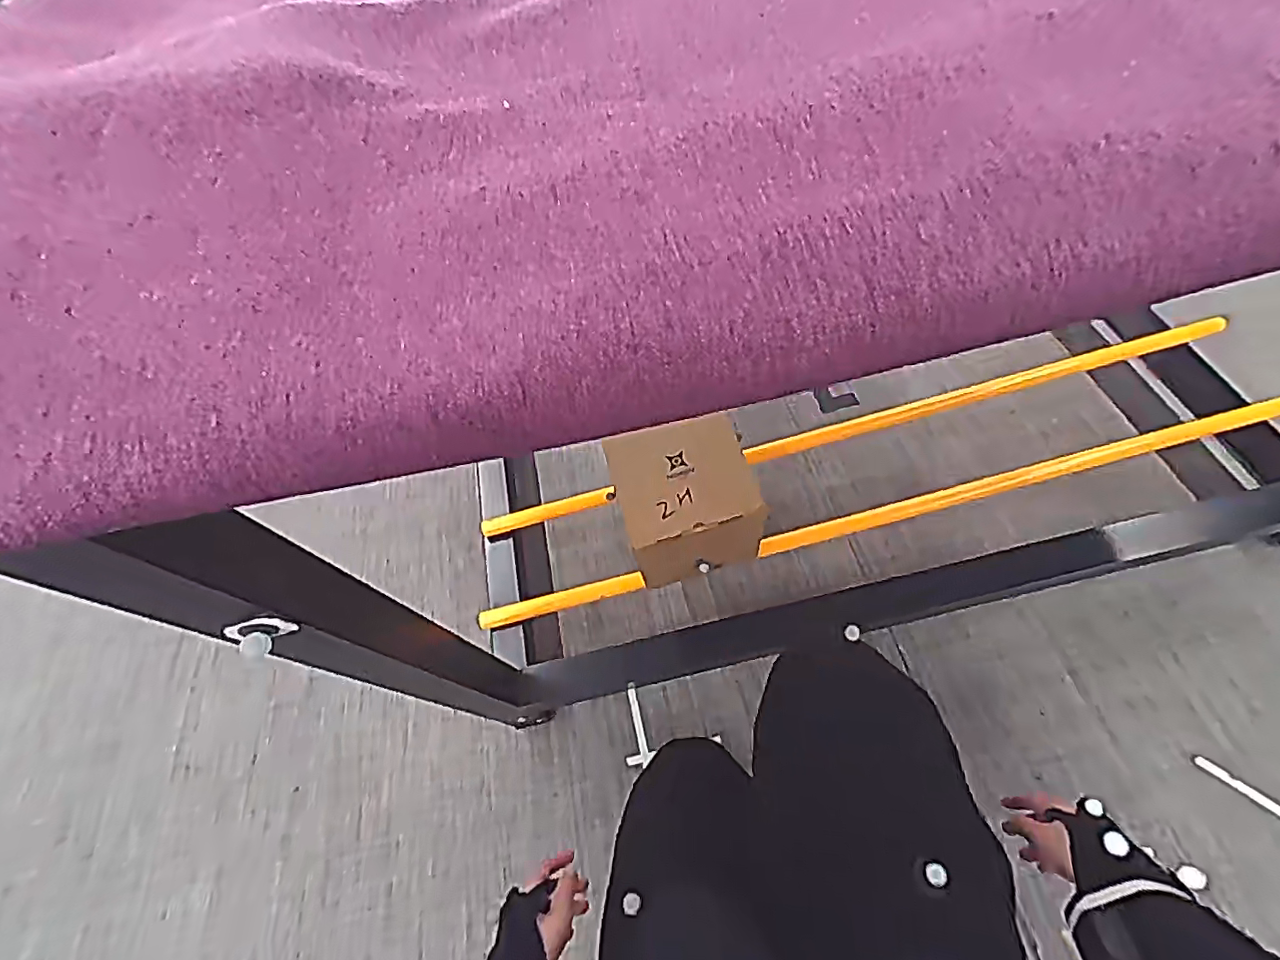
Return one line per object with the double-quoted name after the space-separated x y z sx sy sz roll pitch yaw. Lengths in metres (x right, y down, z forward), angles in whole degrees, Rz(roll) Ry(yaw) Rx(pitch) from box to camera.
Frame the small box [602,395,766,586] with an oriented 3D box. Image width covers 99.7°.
0.057 0.020 0.729 0.168 0.176 0.179 -17 61 -1 "small box"
